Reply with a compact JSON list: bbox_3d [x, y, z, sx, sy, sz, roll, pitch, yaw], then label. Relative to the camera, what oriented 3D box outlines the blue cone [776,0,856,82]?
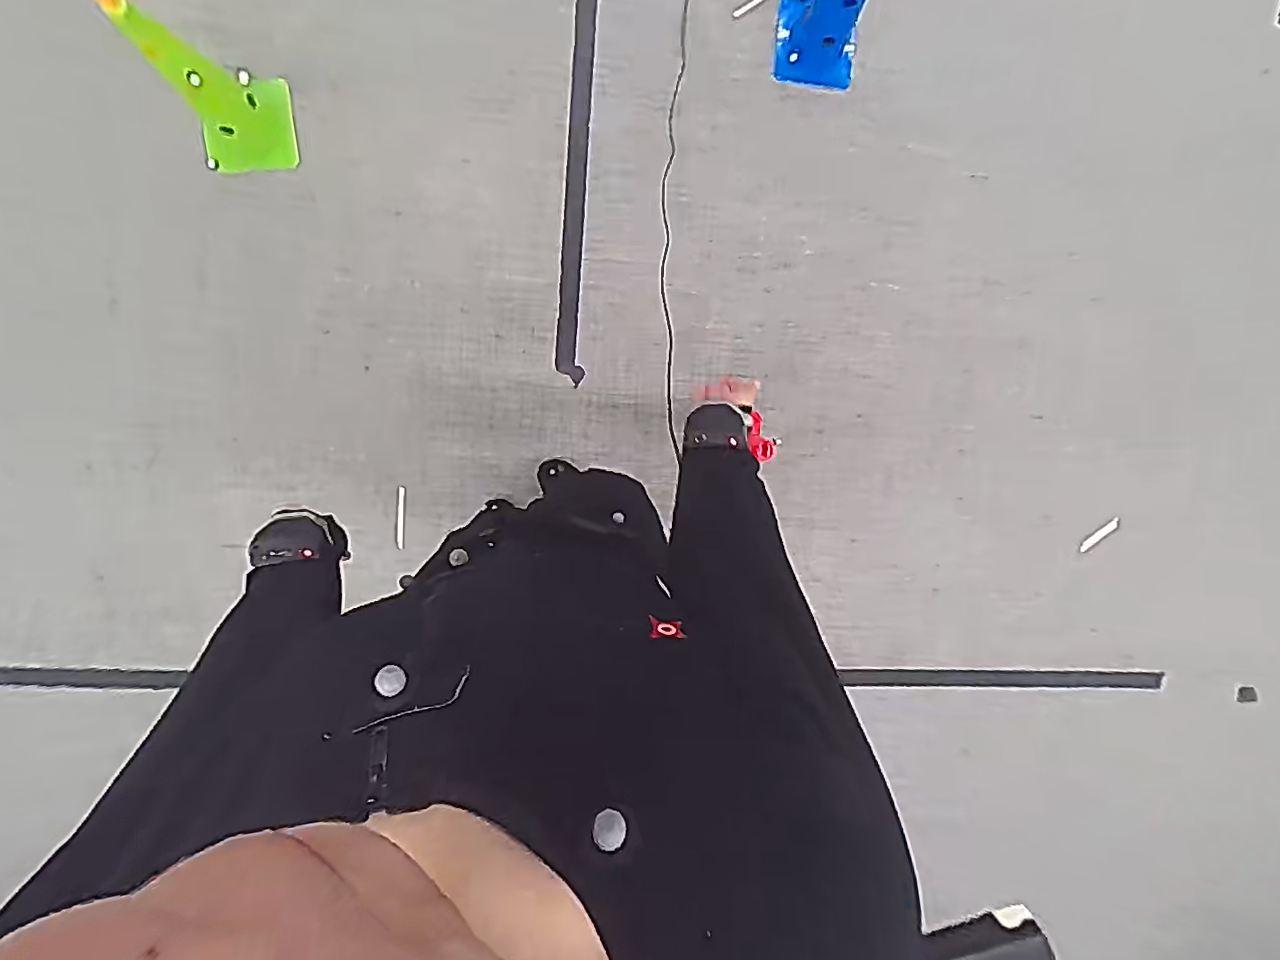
[{"bbox_3d":[0.446,-1.080,1.175,0.193,0.380,0.192,6,93,-5],"label":"blue cone"}]

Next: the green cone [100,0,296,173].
[{"bbox_3d":[-0.887,-0.806,1.070,0.200,0.368,0.202,-8,93,-4],"label":"green cone"}]
